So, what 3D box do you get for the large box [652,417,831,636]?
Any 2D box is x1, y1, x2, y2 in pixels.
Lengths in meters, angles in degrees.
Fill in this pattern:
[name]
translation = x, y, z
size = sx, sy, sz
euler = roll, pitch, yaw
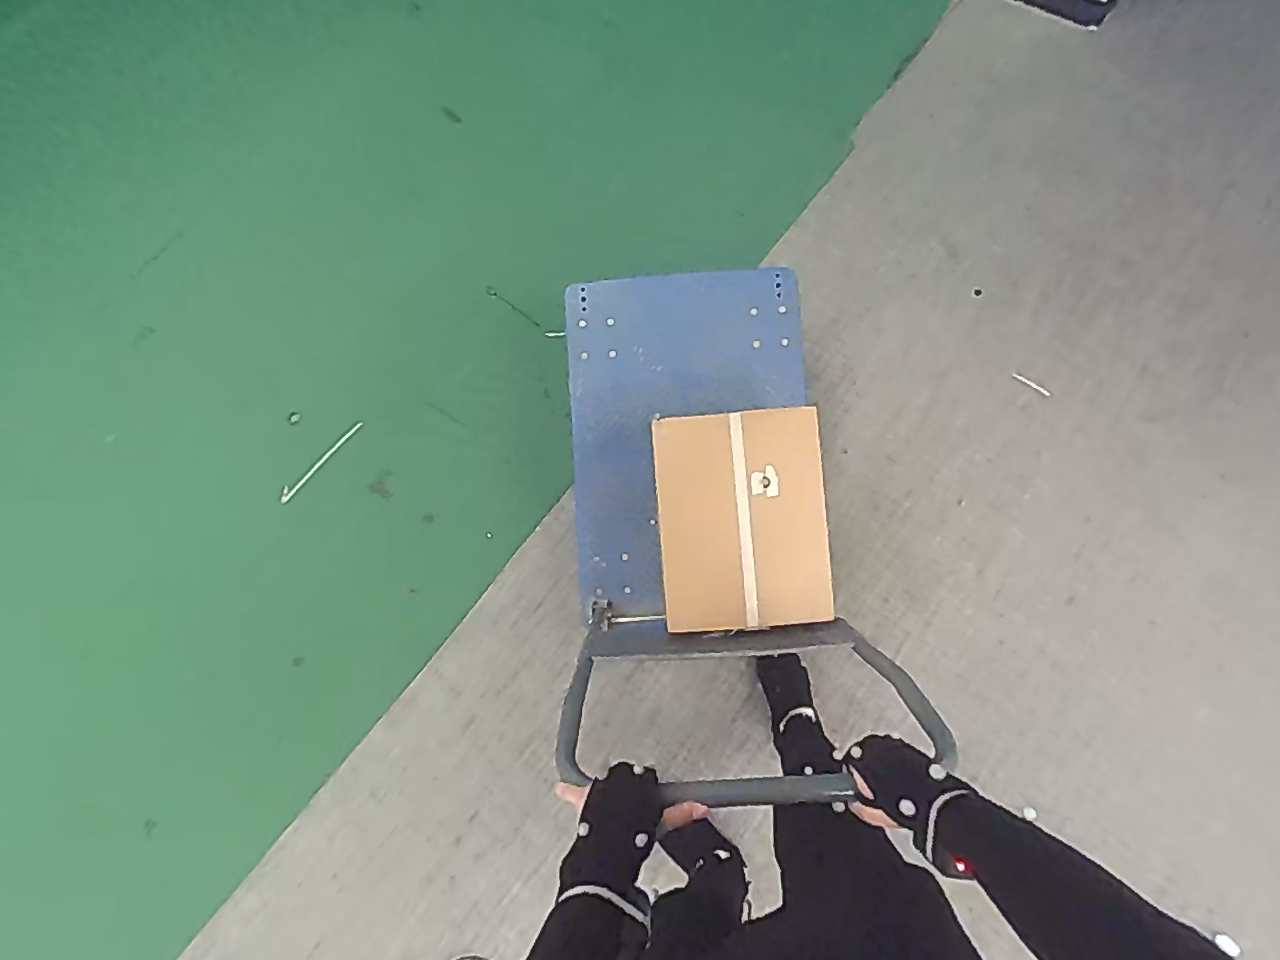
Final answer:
[large box]
translation = 0.199, 0.096, 1.180
size = 0.320, 0.320, 0.408
euler = -4, 88, 1
